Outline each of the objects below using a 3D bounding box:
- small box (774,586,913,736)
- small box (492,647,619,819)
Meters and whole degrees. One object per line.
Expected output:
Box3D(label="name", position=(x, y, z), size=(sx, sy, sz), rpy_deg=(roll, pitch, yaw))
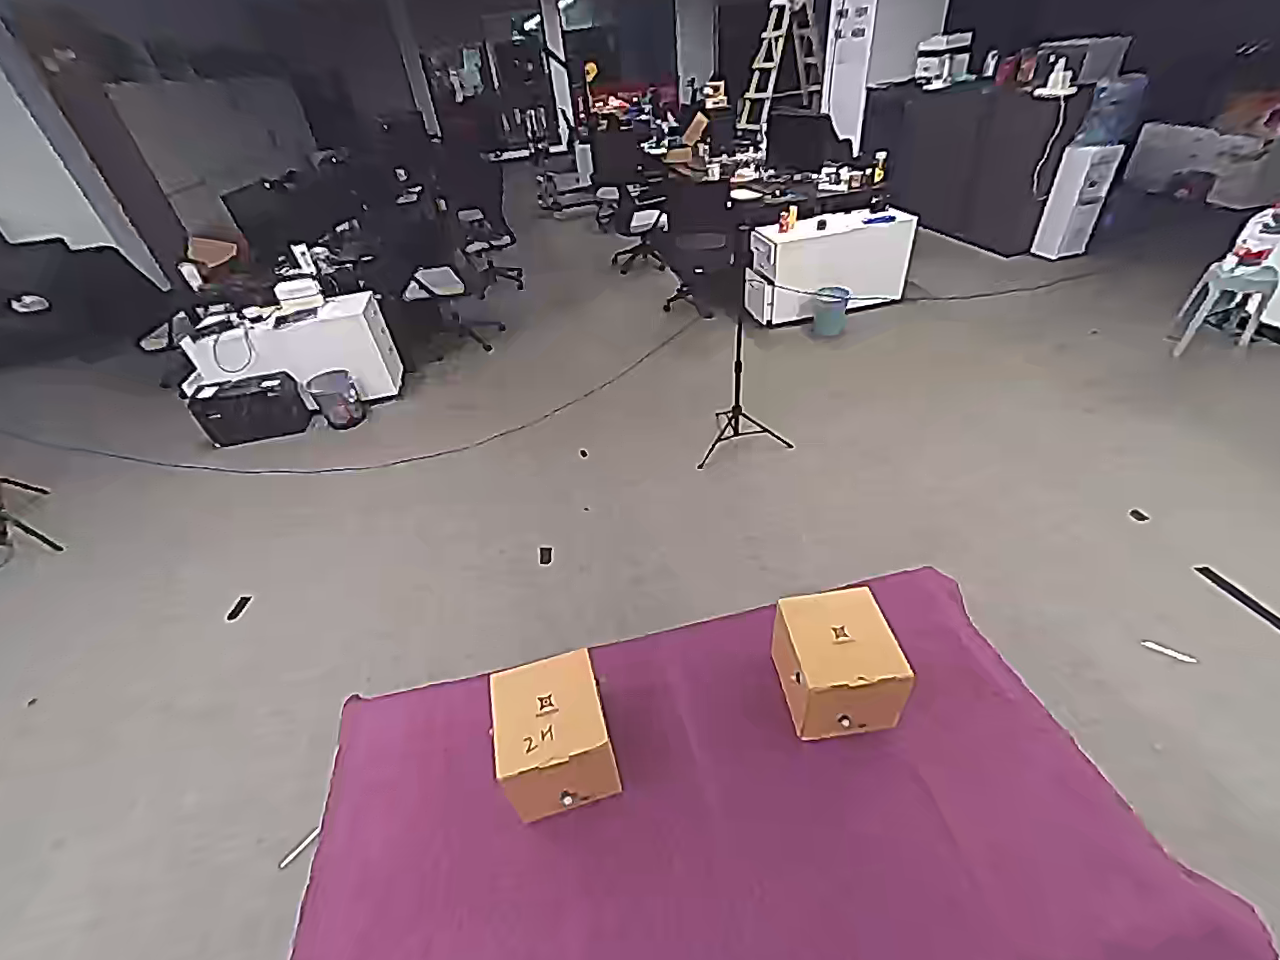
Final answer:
Box3D(label="small box", position=(0.337, 0.313, 0.939), size=(0.168, 0.176, 0.179), rpy_deg=(-8, 40, -1))
Box3D(label="small box", position=(-0.138, 0.412, 0.886), size=(0.168, 0.176, 0.179), rpy_deg=(-14, 39, -8))
